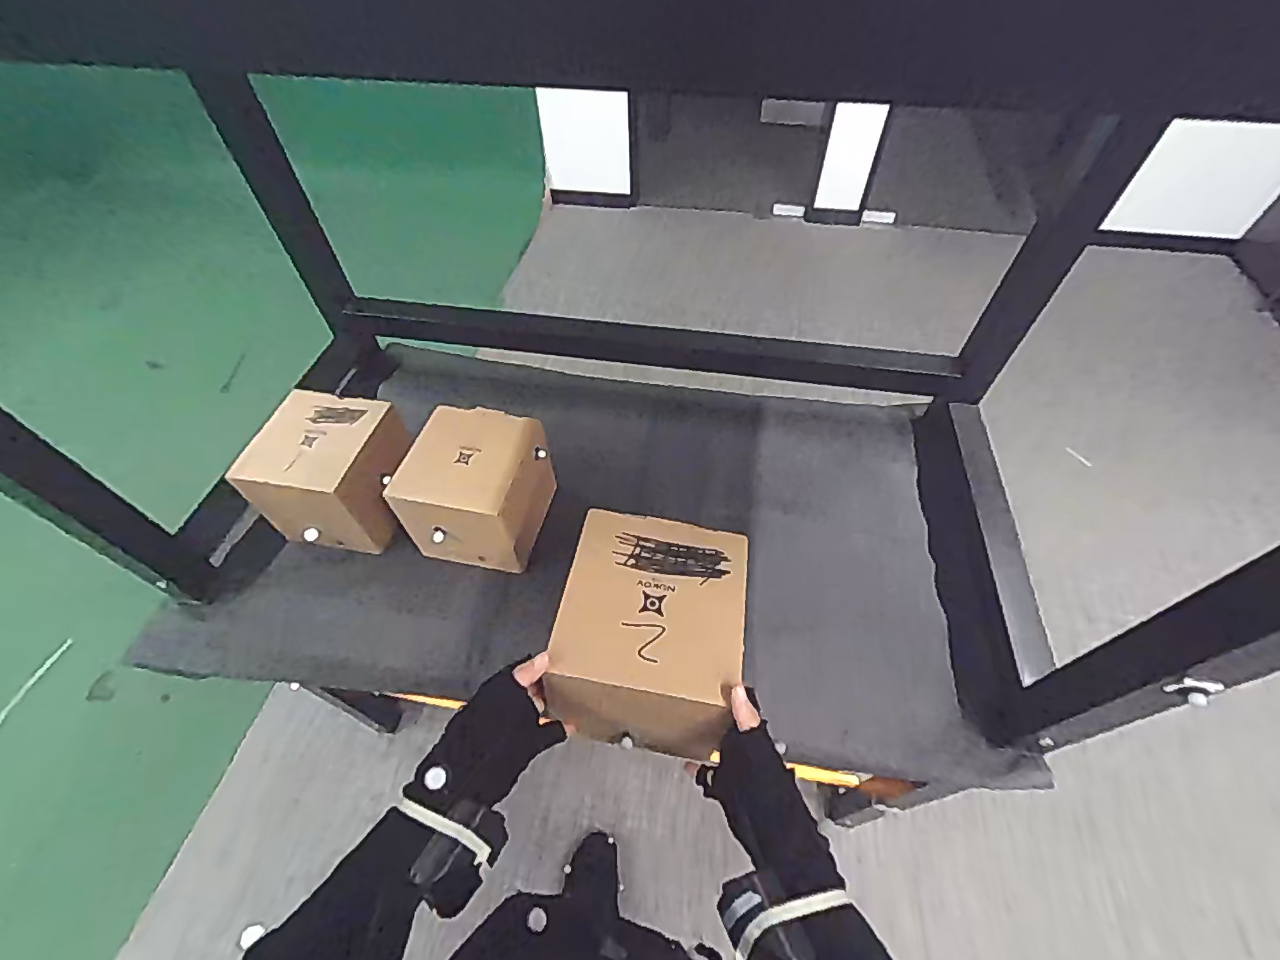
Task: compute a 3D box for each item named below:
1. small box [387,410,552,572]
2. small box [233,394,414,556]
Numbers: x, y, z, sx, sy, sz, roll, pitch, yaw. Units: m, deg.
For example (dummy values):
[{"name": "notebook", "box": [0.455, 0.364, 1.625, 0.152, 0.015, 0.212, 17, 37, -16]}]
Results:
[{"name": "small box", "box": [-0.243, 0.020, 0.827, 0.168, 0.176, 0.179, 9, 52, 7]}, {"name": "small box", "box": [-0.468, -0.007, 0.848, 0.168, 0.176, 0.179, 8, 53, 7]}]
